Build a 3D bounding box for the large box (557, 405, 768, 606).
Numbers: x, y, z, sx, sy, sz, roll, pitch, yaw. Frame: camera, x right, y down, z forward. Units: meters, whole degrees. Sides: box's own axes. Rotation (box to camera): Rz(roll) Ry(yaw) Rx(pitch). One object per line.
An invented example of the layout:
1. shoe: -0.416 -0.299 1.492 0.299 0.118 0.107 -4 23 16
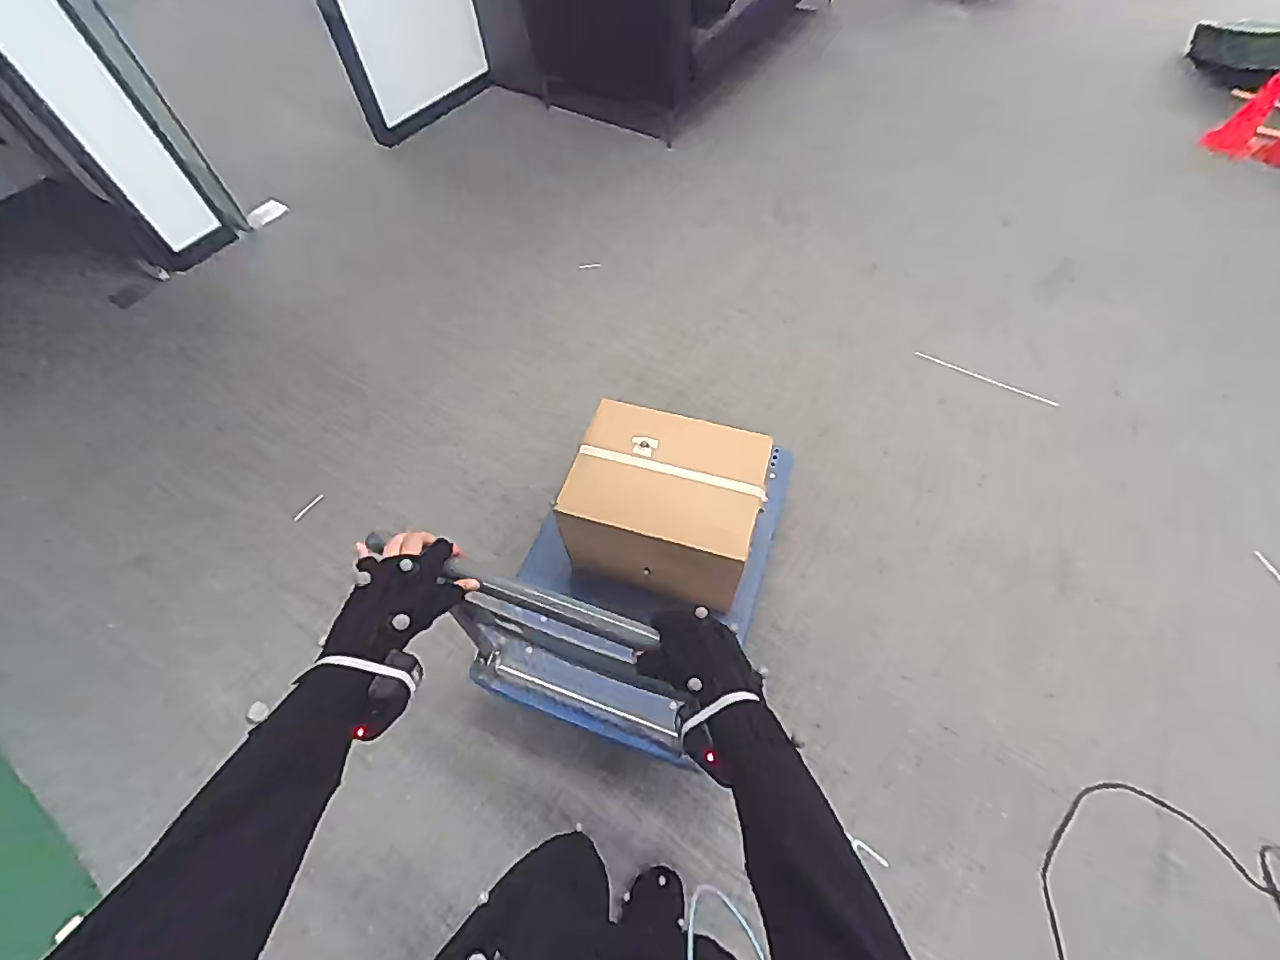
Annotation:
1. large box: 0.064 0.067 1.290 0.408 0.320 0.320 13 59 11
